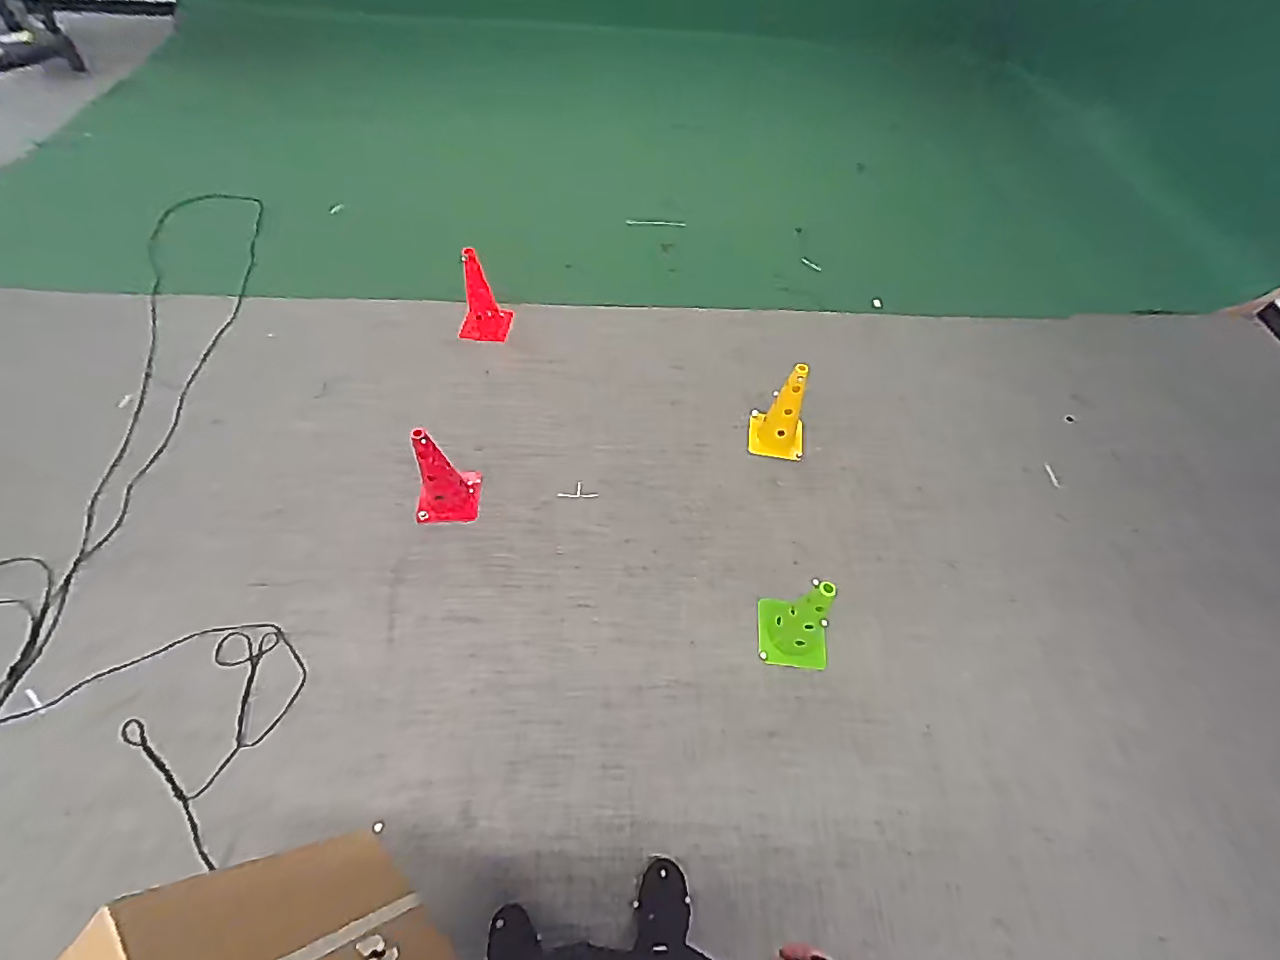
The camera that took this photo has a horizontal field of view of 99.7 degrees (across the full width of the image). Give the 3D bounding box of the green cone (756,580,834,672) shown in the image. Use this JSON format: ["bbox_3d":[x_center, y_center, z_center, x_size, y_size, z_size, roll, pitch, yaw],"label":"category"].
[{"bbox_3d":[0.460,0.373,1.488,0.200,0.368,0.202,6,55,1],"label":"green cone"}]

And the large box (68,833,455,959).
[{"bbox_3d":[-0.516,0.742,0.690,0.320,0.408,0.320,33,81,27],"label":"large box"}]

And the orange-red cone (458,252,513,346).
[{"bbox_3d":[-0.657,-0.745,2.175,0.199,0.360,0.198,7,55,3],"label":"orange-red cone"}]
